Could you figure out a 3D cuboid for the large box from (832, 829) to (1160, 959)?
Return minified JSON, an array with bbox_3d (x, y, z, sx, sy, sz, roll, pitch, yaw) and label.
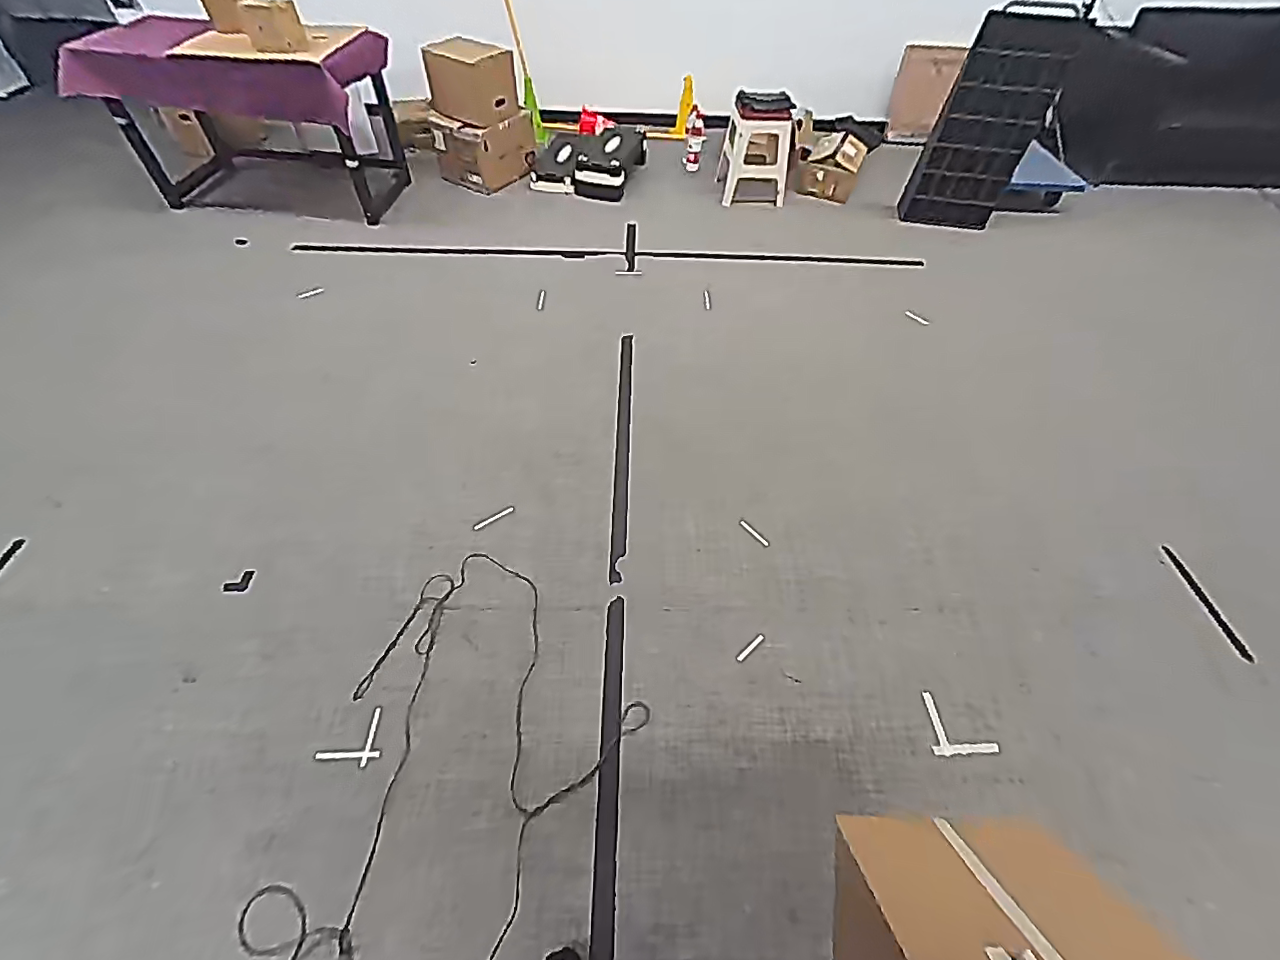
[{"bbox_3d":[0.442,0.695,0.632,0.320,0.408,0.320,2,90,2],"label":"large box"}]
